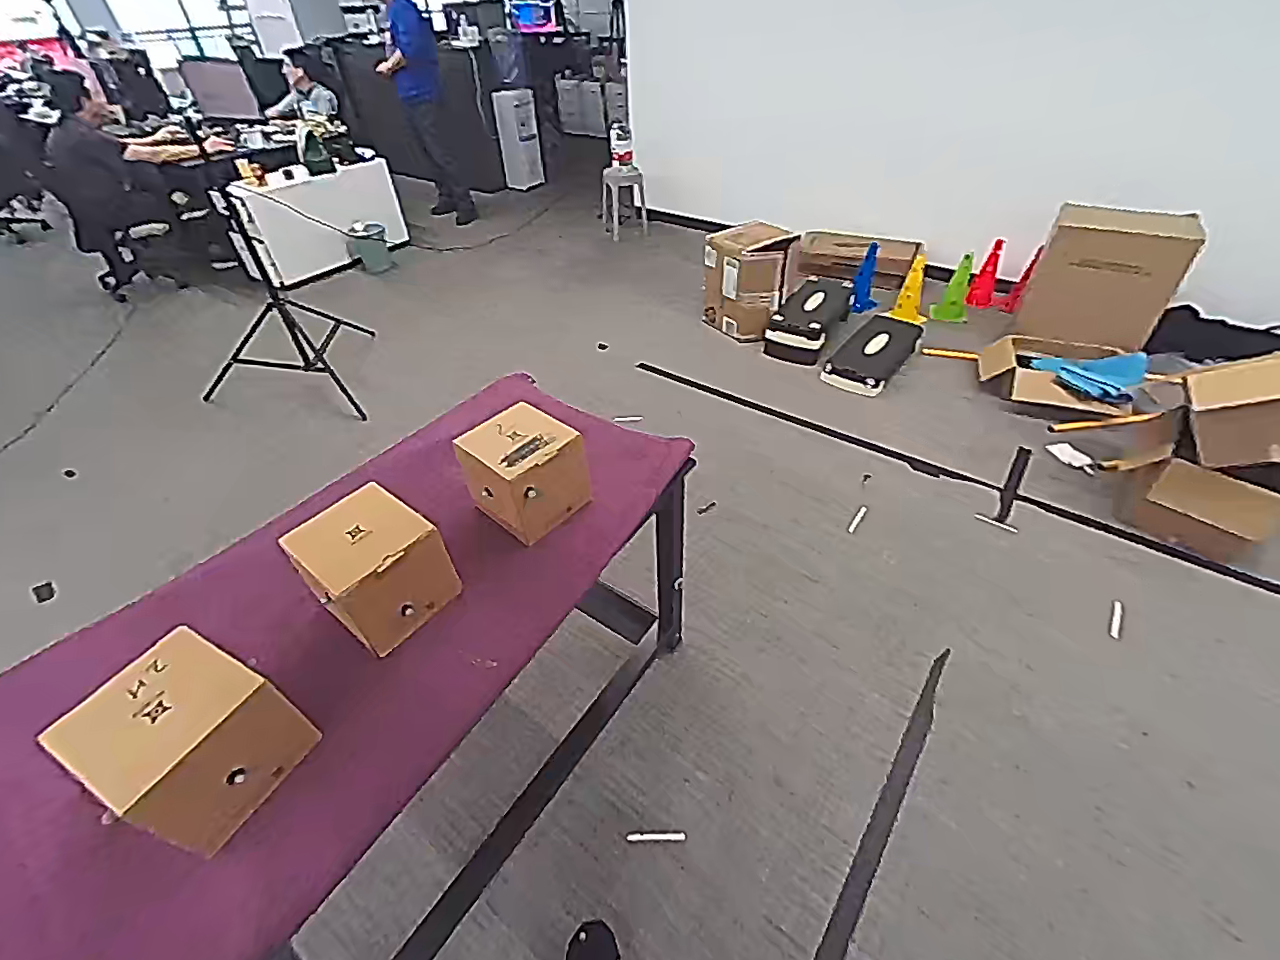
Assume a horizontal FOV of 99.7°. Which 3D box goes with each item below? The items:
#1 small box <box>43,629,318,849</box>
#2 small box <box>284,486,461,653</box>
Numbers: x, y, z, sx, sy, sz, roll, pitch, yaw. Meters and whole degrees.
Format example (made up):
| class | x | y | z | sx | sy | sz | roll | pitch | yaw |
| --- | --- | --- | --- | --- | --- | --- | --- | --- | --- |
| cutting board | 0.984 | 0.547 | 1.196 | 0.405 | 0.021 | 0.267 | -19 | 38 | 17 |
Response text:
| class | x | y | z | sx | sy | sz | roll | pitch | yaw |
| --- | --- | --- | --- | --- | --- | --- | --- | --- | --- |
| small box | -0.555 | 0.327 | 0.680 | 0.179 | 0.176 | 0.168 | 18 | 46 | 22 |
| small box | -0.423 | 0.145 | 0.876 | 0.179 | 0.176 | 0.168 | 27 | 50 | 28 |
